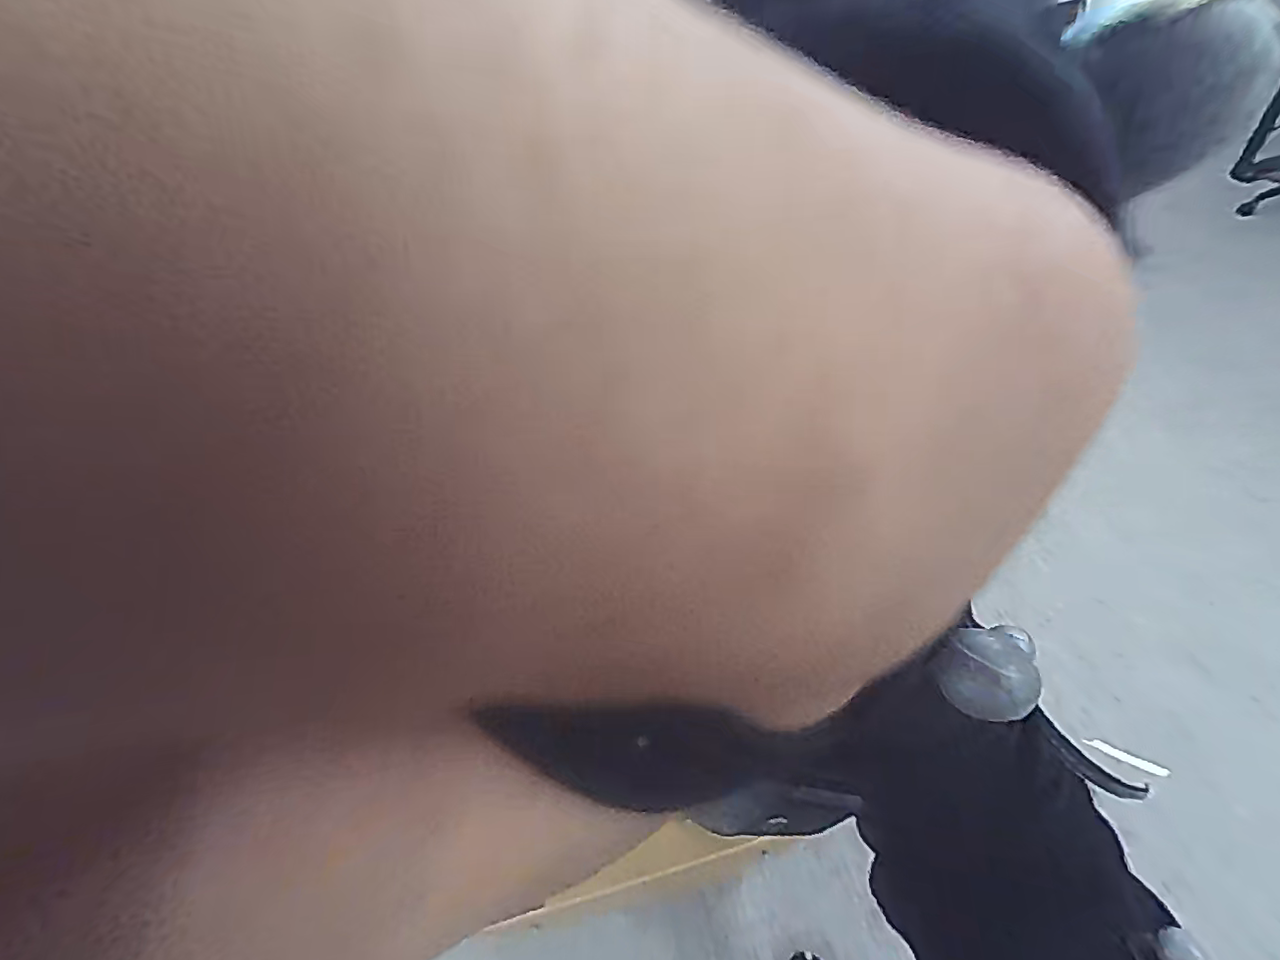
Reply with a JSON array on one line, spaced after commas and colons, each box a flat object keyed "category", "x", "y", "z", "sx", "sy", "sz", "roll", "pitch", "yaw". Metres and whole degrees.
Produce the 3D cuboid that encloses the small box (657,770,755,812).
[{"category": "small box", "x": 0.120, "y": 0.517, "z": 1.034, "sx": 0.168, "sy": 0.176, "sz": 0.179, "roll": -12, "pitch": 47, "yaw": 3}]
